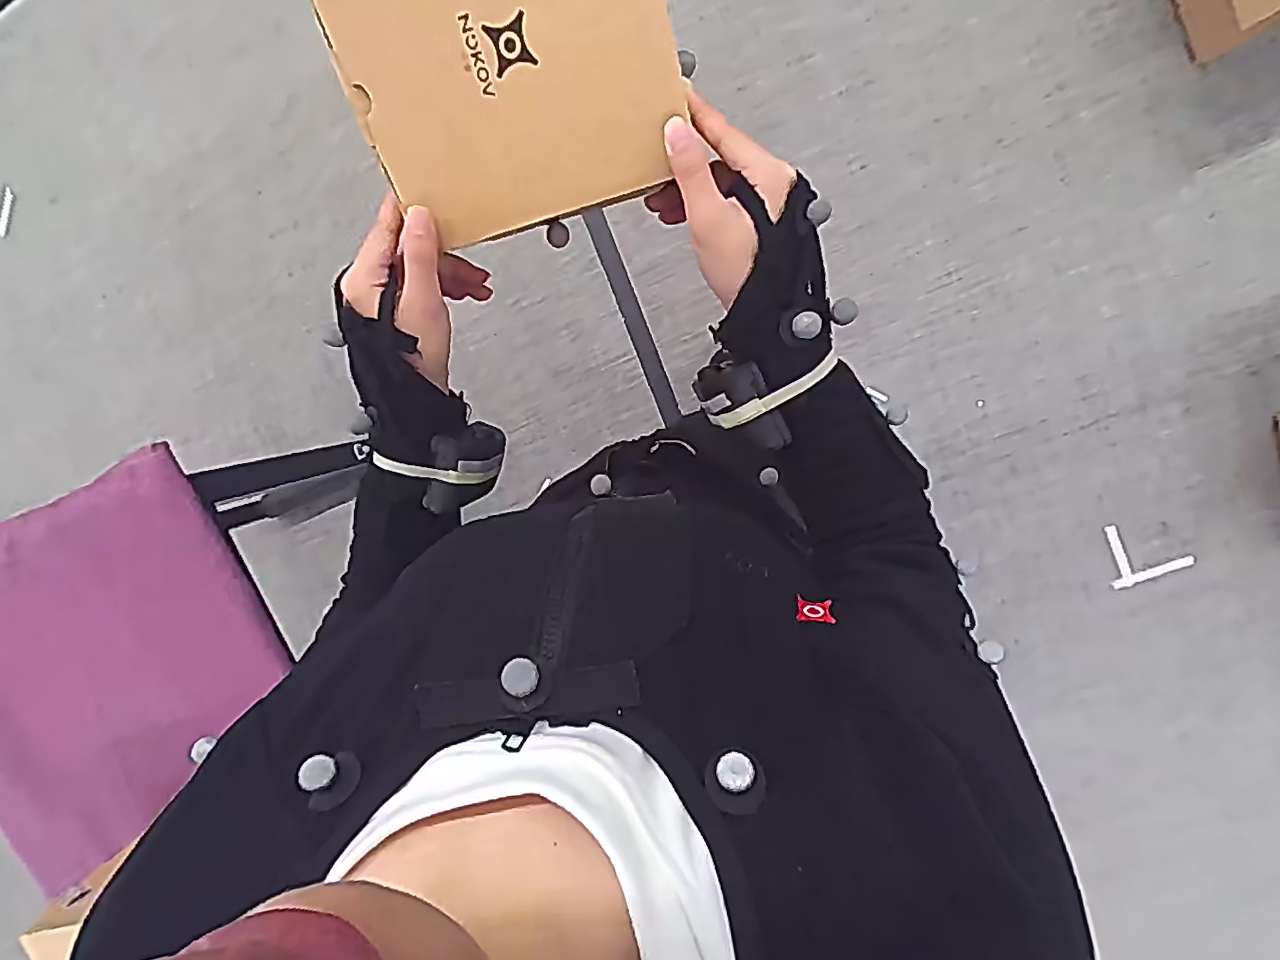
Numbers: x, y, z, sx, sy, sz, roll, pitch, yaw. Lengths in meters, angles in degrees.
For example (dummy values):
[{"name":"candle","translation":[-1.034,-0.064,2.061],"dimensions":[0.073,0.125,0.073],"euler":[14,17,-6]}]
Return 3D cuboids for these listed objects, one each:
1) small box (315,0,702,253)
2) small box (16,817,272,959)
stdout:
[{"name":"small box","translation":[-0.067,-0.261,0.348],"dimensions":[0.179,0.176,0.168],"euler":[-13,116,9]},{"name":"small box","translation":[-0.675,0.616,0.758],"dimensions":[0.179,0.176,0.168],"euler":[-18,98,11]}]
